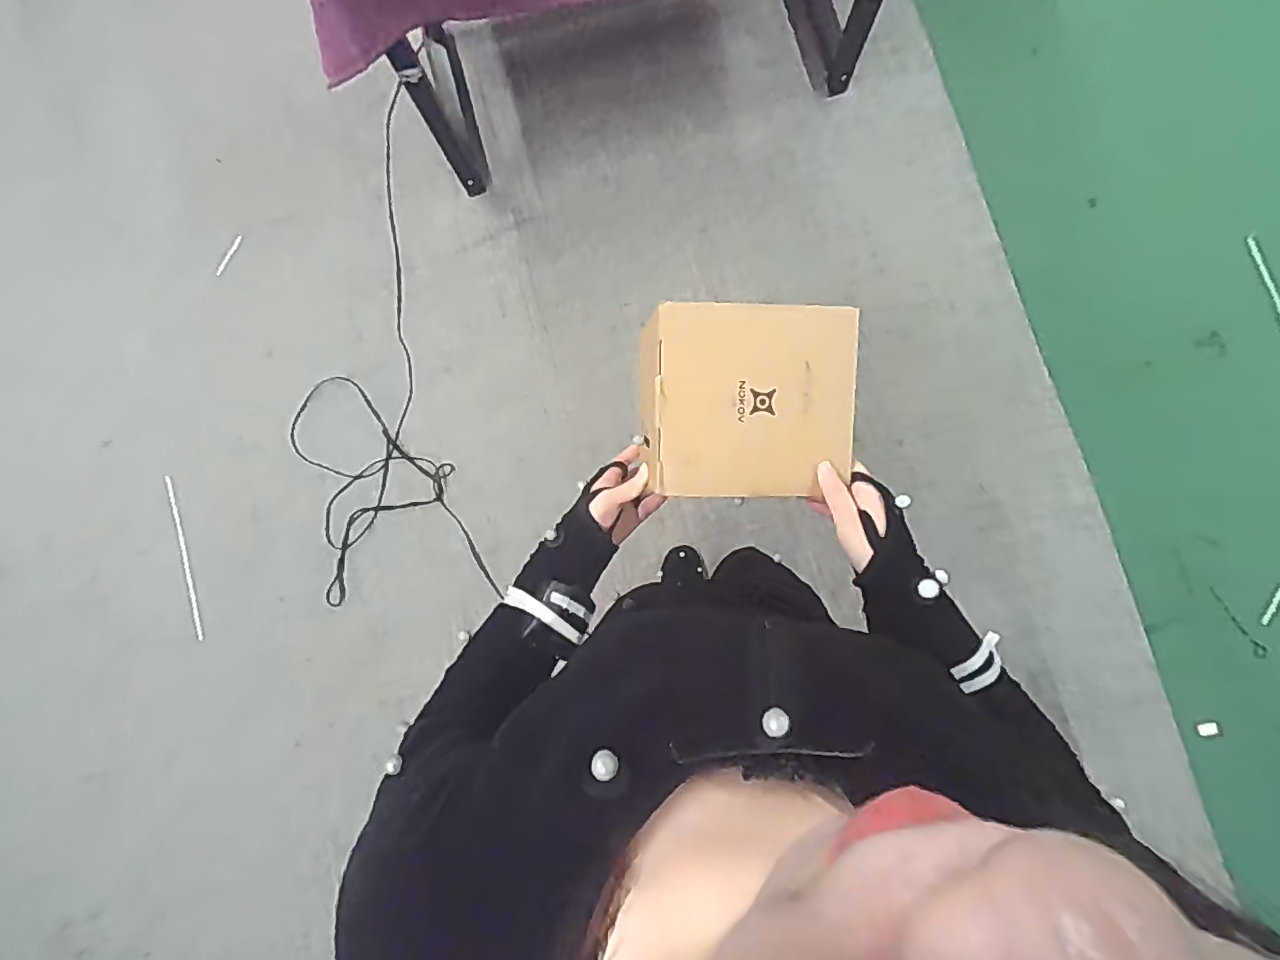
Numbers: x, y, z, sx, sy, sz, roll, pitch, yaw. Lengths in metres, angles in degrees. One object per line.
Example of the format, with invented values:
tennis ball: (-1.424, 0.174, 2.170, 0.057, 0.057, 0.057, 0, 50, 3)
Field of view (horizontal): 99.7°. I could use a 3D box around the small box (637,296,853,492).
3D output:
small box: (0.089, -0.079, 0.543, 0.179, 0.176, 0.168, 0, 96, -5)
